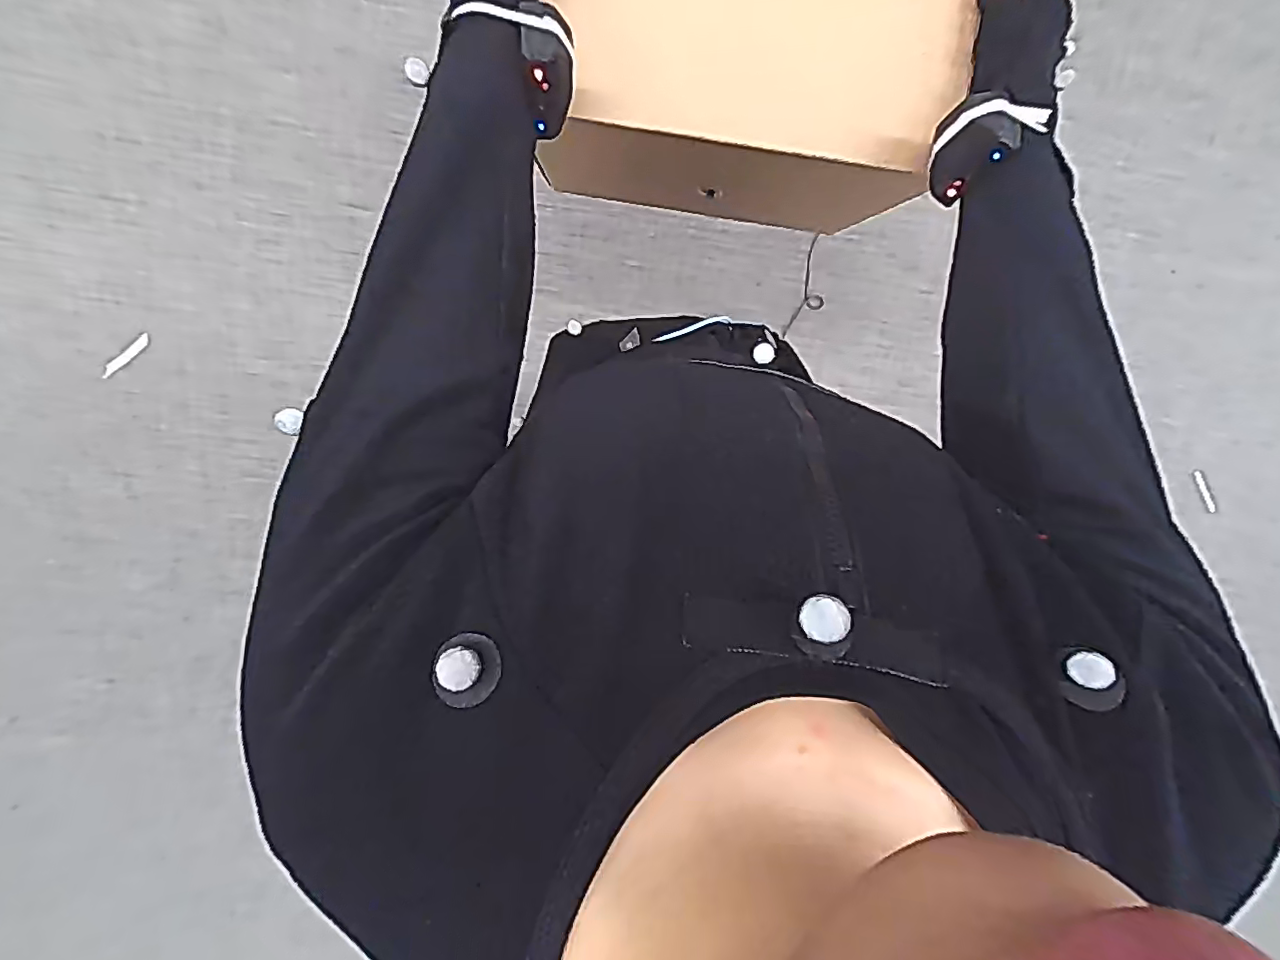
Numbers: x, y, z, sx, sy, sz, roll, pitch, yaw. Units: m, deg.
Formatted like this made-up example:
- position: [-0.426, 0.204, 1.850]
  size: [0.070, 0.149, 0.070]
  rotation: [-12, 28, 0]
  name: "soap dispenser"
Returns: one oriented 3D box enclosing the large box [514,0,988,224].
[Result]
- position: [0.101, -0.489, 0.586]
  size: [0.408, 0.320, 0.320]
  rotation: [7, 105, -4]
  name: "large box"
